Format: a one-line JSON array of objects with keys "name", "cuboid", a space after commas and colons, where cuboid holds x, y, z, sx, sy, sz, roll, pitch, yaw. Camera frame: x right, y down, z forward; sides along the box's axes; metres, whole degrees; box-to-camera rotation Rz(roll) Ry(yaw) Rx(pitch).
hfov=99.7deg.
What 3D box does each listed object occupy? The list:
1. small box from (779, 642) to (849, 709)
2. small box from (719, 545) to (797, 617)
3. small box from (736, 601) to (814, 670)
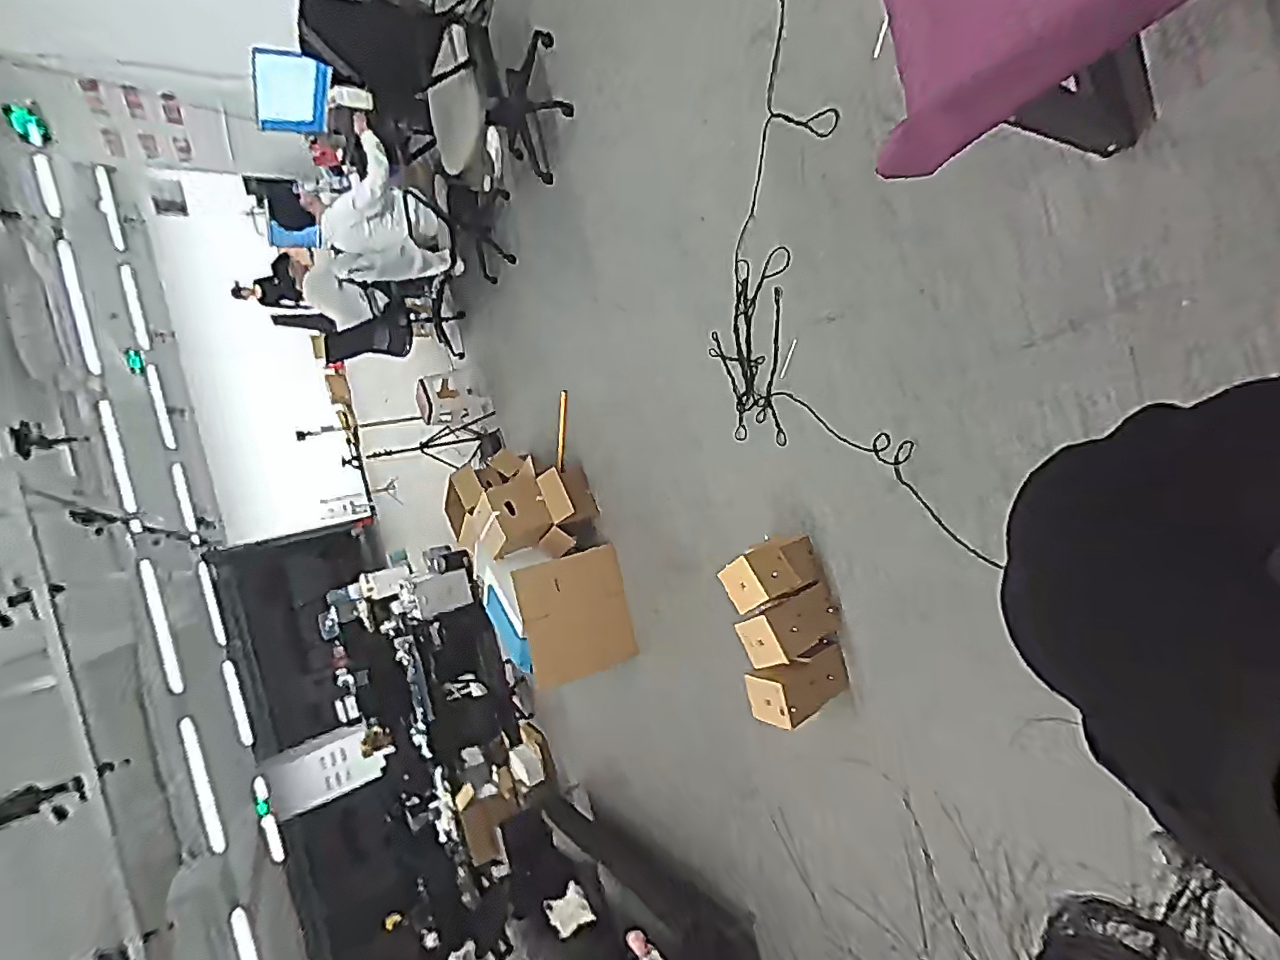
[{"name": "small box", "cuboid": [0.636, 0.705, 1.982, 0.168, 0.176, 0.179, -14, 91, 57]}, {"name": "small box", "cuboid": [0.414, 0.345, 1.869, 0.168, 0.176, 0.179, 62, 145, 20]}, {"name": "small box", "cuboid": [0.472, 0.534, 1.861, 0.179, 0.176, 0.168, -44, 66, 54]}]
